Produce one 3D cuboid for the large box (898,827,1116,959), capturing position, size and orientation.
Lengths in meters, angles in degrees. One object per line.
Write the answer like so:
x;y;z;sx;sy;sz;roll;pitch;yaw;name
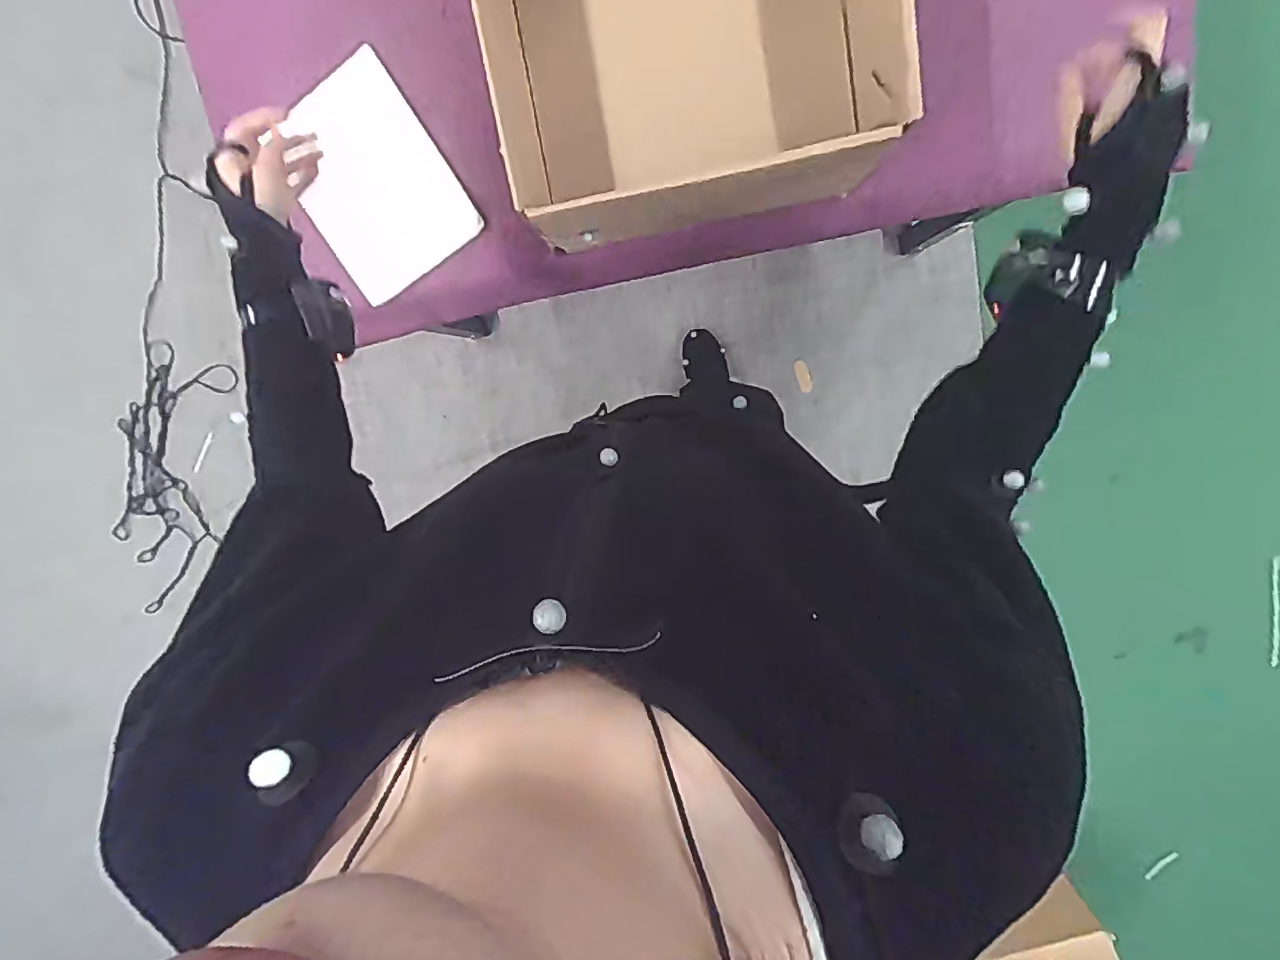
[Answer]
1.028;1.280;1.521;0.408;0.320;0.320;-25;99;7;large box
